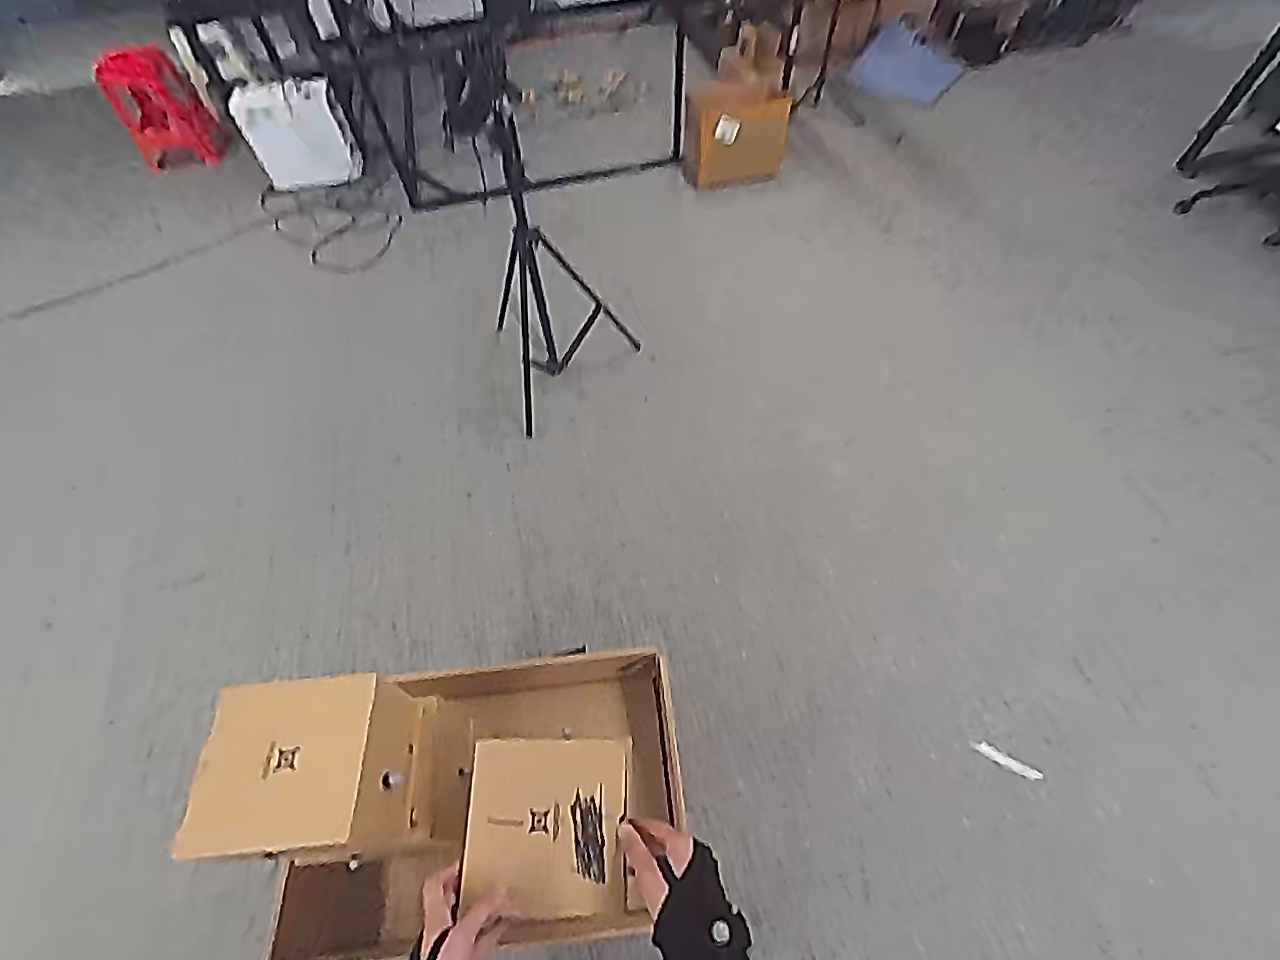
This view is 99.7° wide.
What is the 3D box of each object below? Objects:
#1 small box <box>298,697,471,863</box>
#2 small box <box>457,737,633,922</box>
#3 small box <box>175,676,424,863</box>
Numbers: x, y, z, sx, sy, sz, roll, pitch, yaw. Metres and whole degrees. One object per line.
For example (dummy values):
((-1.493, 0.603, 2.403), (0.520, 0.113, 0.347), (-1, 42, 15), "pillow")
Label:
((-0.347, 0.432, 0.775), (0.168, 0.176, 0.179), (-7, 55, -4), "small box")
((-0.098, 0.404, 0.652), (0.179, 0.176, 0.168), (0, 65, 1), "small box")
((-0.374, 0.342, 0.640), (0.179, 0.176, 0.168), (-5, 56, -3), "small box")
